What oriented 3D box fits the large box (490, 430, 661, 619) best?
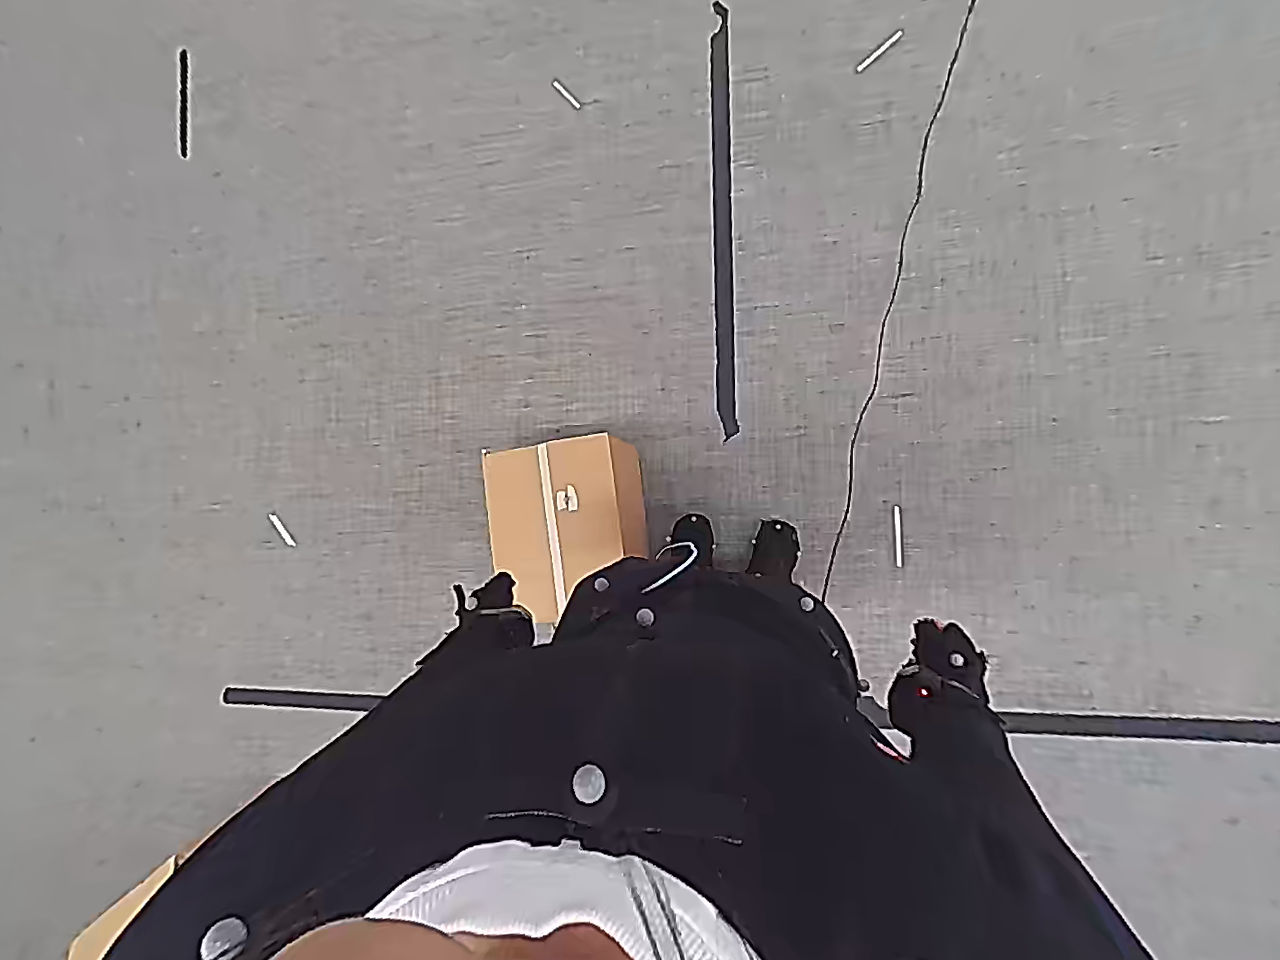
[{"bbox_3d":[-0.149,0.115,1.378,0.320,0.320,0.408,-9,84,11],"label":"large box"}]
